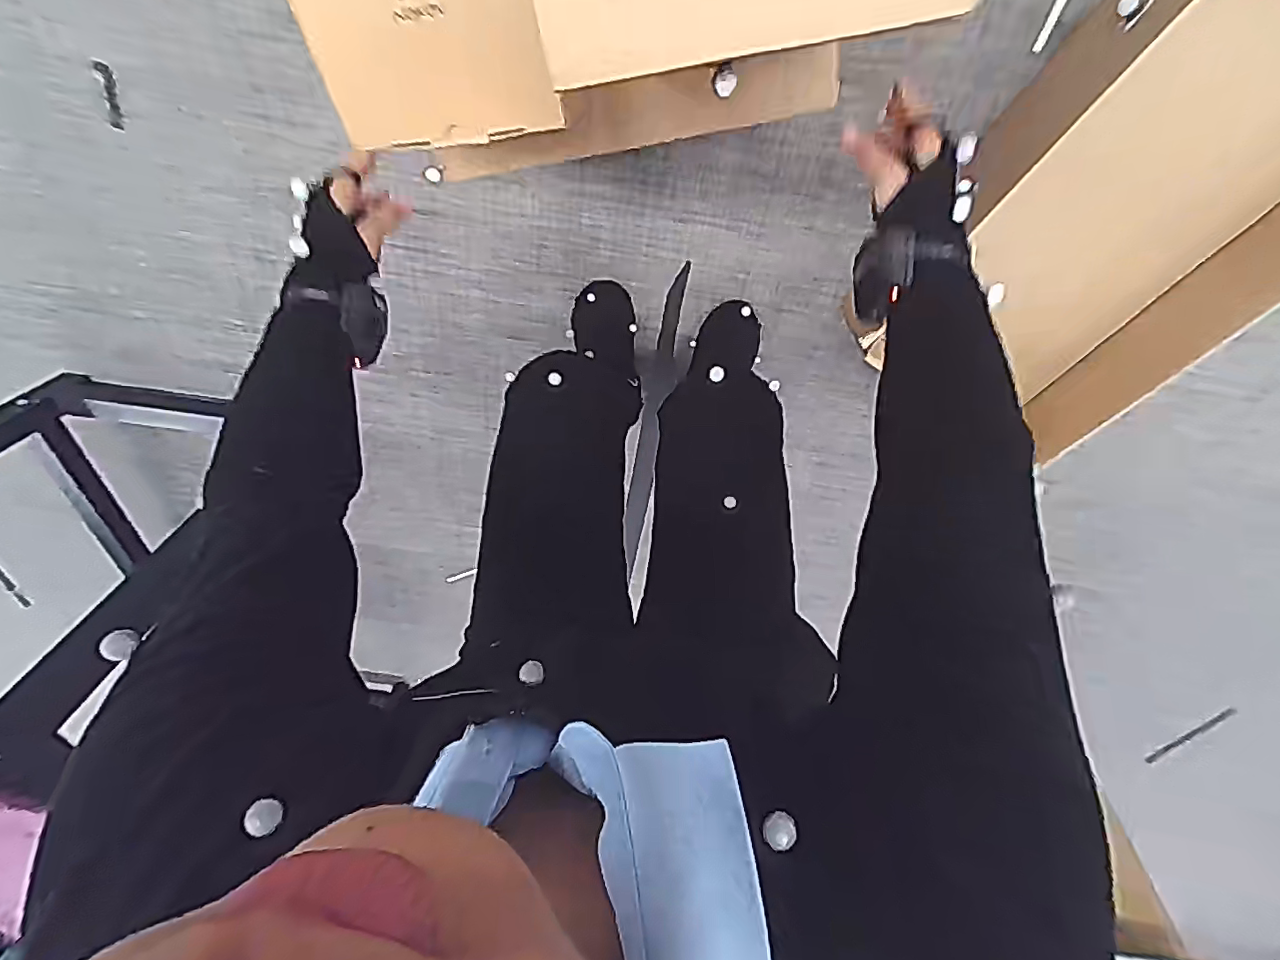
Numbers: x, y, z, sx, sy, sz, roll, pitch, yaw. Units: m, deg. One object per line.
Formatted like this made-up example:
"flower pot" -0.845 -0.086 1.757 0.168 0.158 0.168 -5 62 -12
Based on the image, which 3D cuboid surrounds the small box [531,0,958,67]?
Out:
"small box" 0.042 -0.293 0.232 0.179 0.176 0.168 -3 129 10
